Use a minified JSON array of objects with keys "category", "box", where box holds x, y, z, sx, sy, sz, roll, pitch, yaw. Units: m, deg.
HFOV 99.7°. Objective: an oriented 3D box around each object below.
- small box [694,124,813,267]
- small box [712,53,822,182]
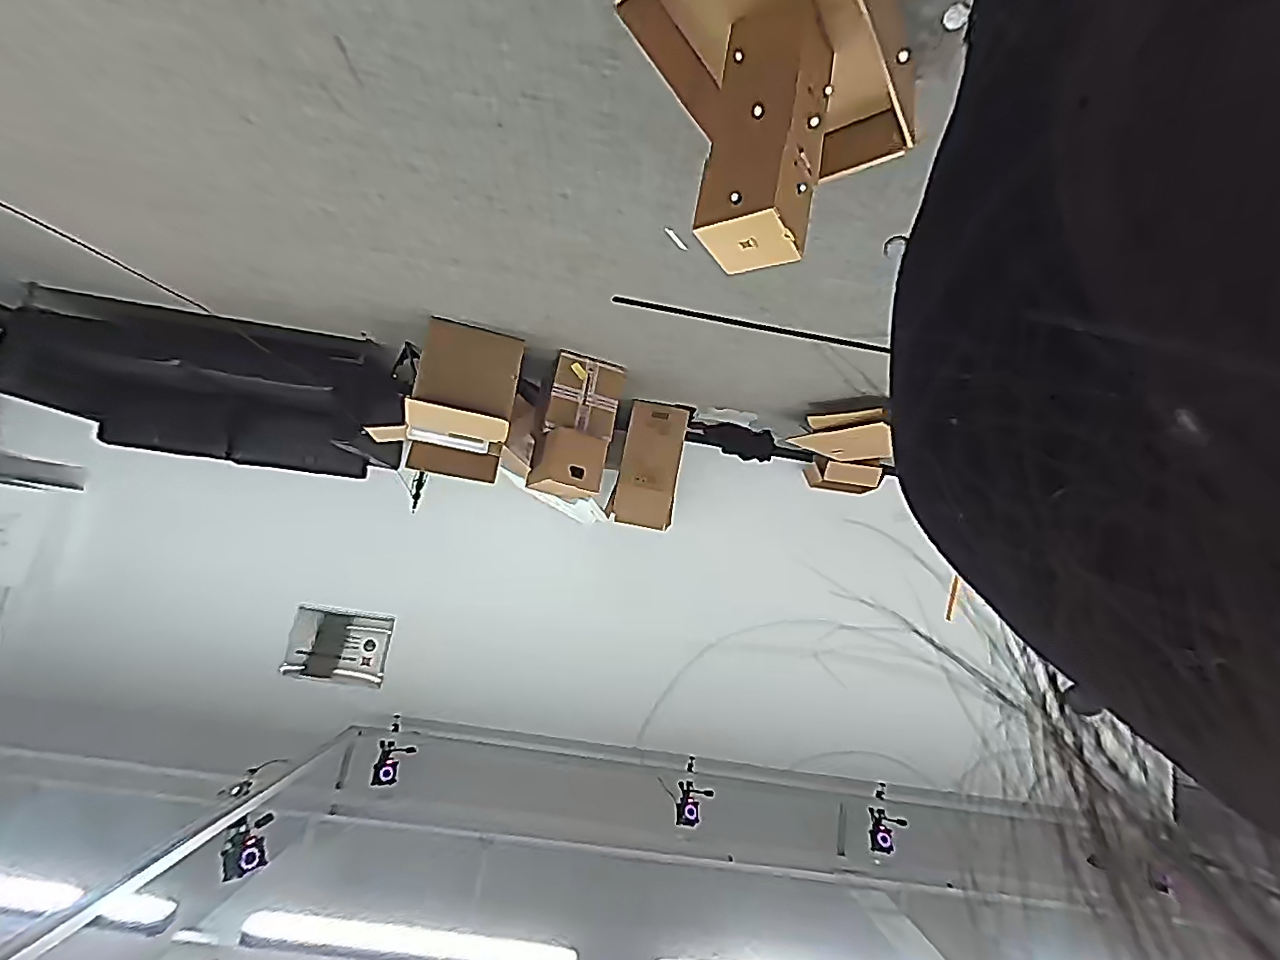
[{"category":"small box","box":[0.233,-0.565,1.090,0.179,0.176,0.168,2,168,37]},{"category":"small box","box":[0.269,-0.722,1.117,0.179,0.176,0.168,2,167,36]}]
